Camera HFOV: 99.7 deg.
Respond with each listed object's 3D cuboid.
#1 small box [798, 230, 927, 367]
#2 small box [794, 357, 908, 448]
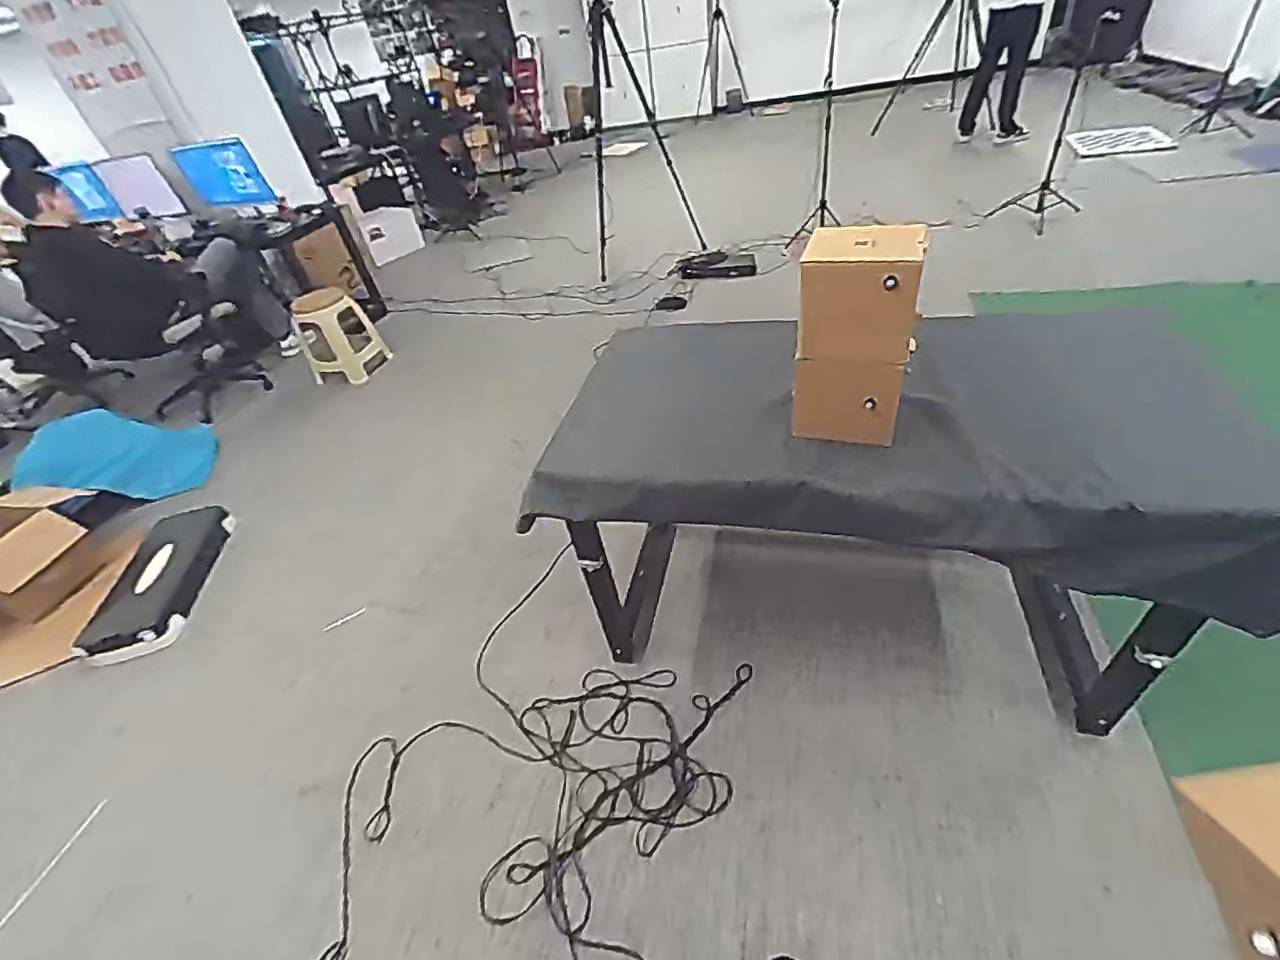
[{"bbox_3d":[0.366,-0.301,0.900,0.179,0.176,0.168,9,43,22],"label":"small box"},{"bbox_3d":[0.389,-0.175,1.000,0.179,0.176,0.168,8,42,23],"label":"small box"}]
